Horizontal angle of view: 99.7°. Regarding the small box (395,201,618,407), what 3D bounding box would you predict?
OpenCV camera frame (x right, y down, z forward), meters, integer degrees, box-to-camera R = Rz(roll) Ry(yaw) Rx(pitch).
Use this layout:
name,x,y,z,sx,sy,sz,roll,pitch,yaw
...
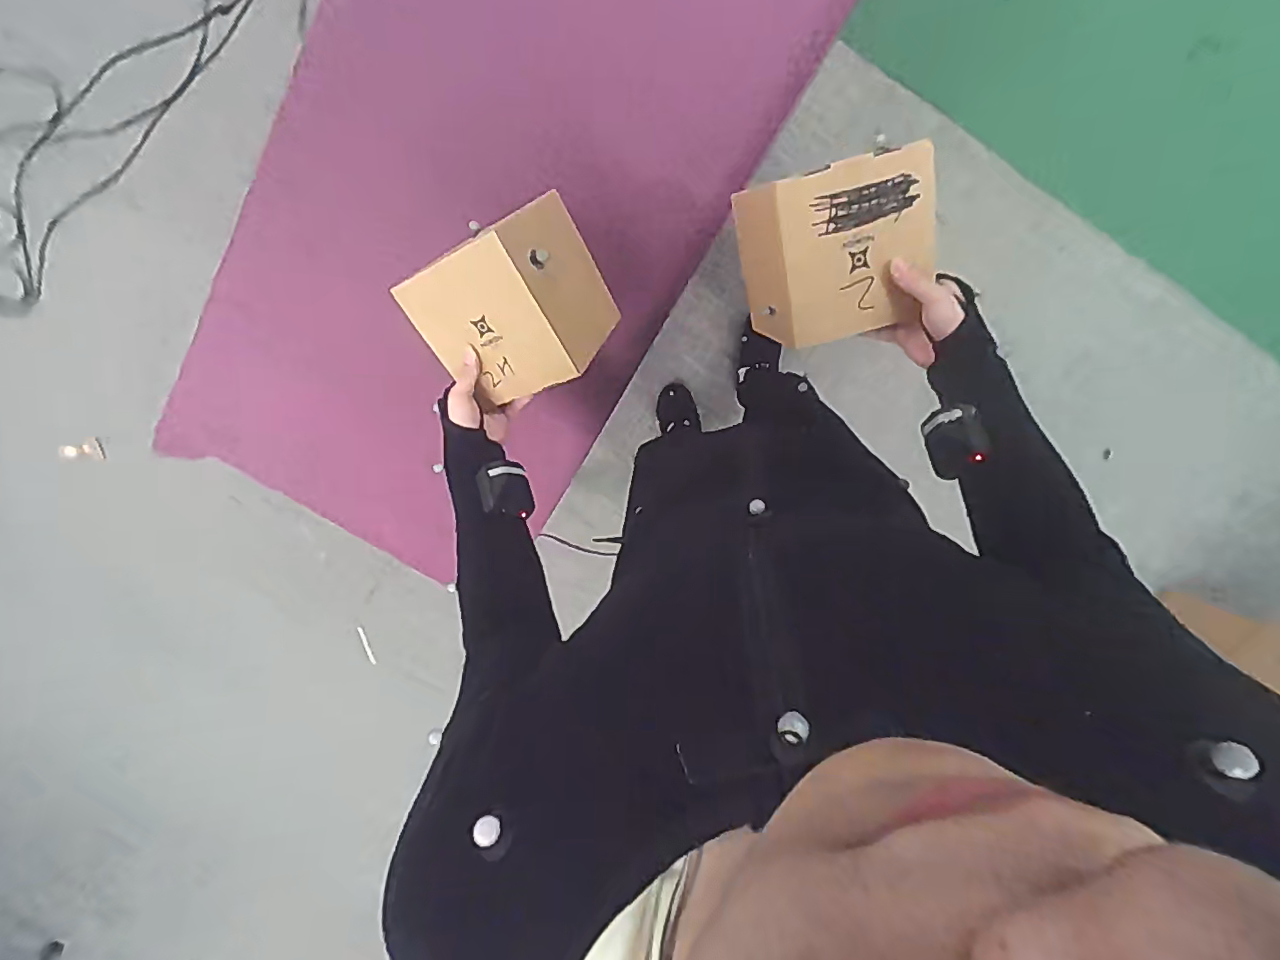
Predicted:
name,x,y,z,sx,sy,sz,roll,pitch,yaw
small box,-0.151,-0.222,0.673,0.168,0.176,0.179,-12,124,29
